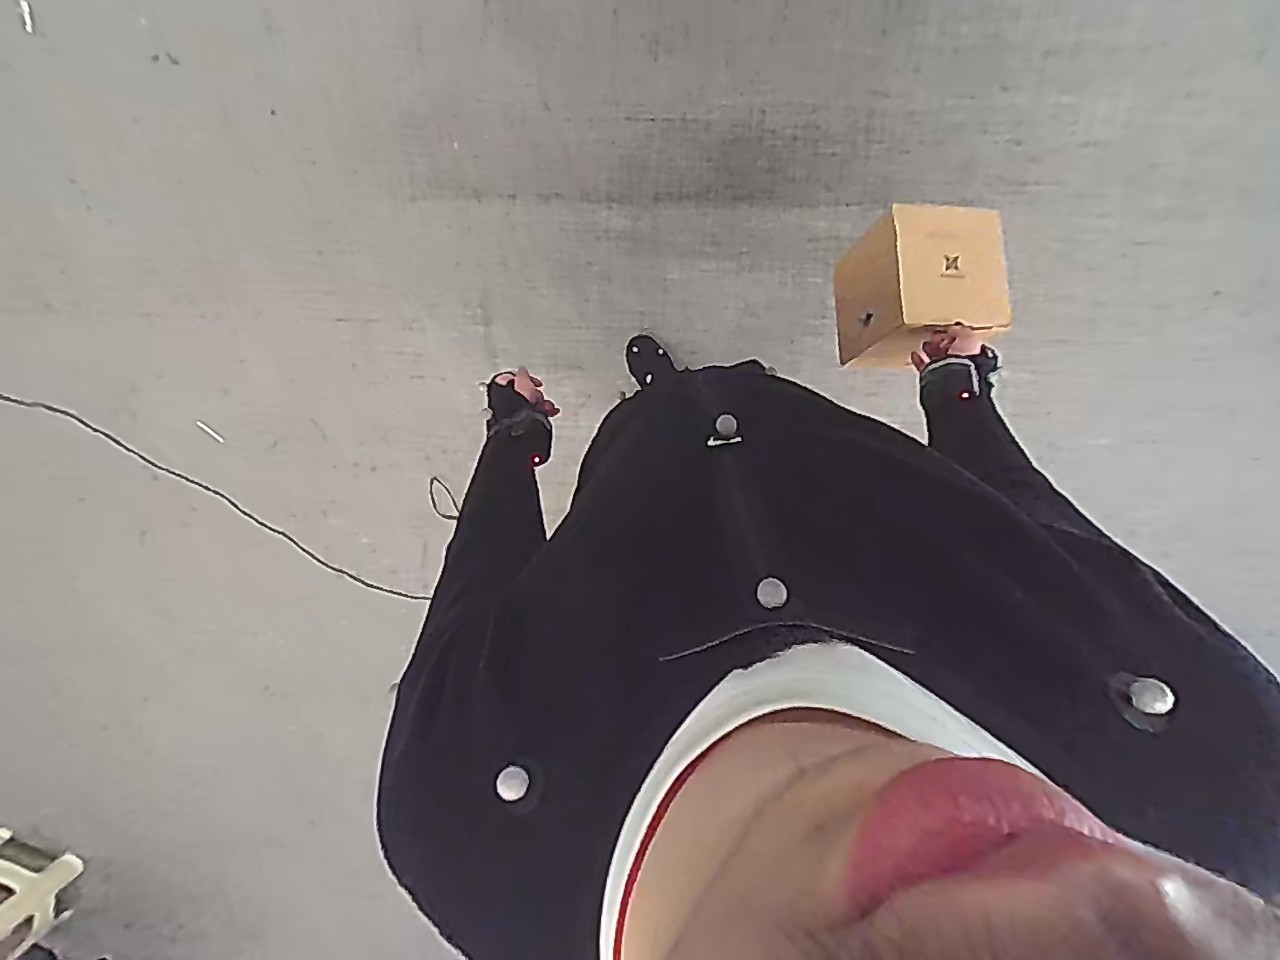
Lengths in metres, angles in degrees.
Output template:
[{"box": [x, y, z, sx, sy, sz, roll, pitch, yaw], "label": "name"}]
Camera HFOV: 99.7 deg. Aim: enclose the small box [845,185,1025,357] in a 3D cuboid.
[{"box": [0.415, -0.288, 0.785, 0.168, 0.176, 0.179, 2, 85, -10], "label": "small box"}]
